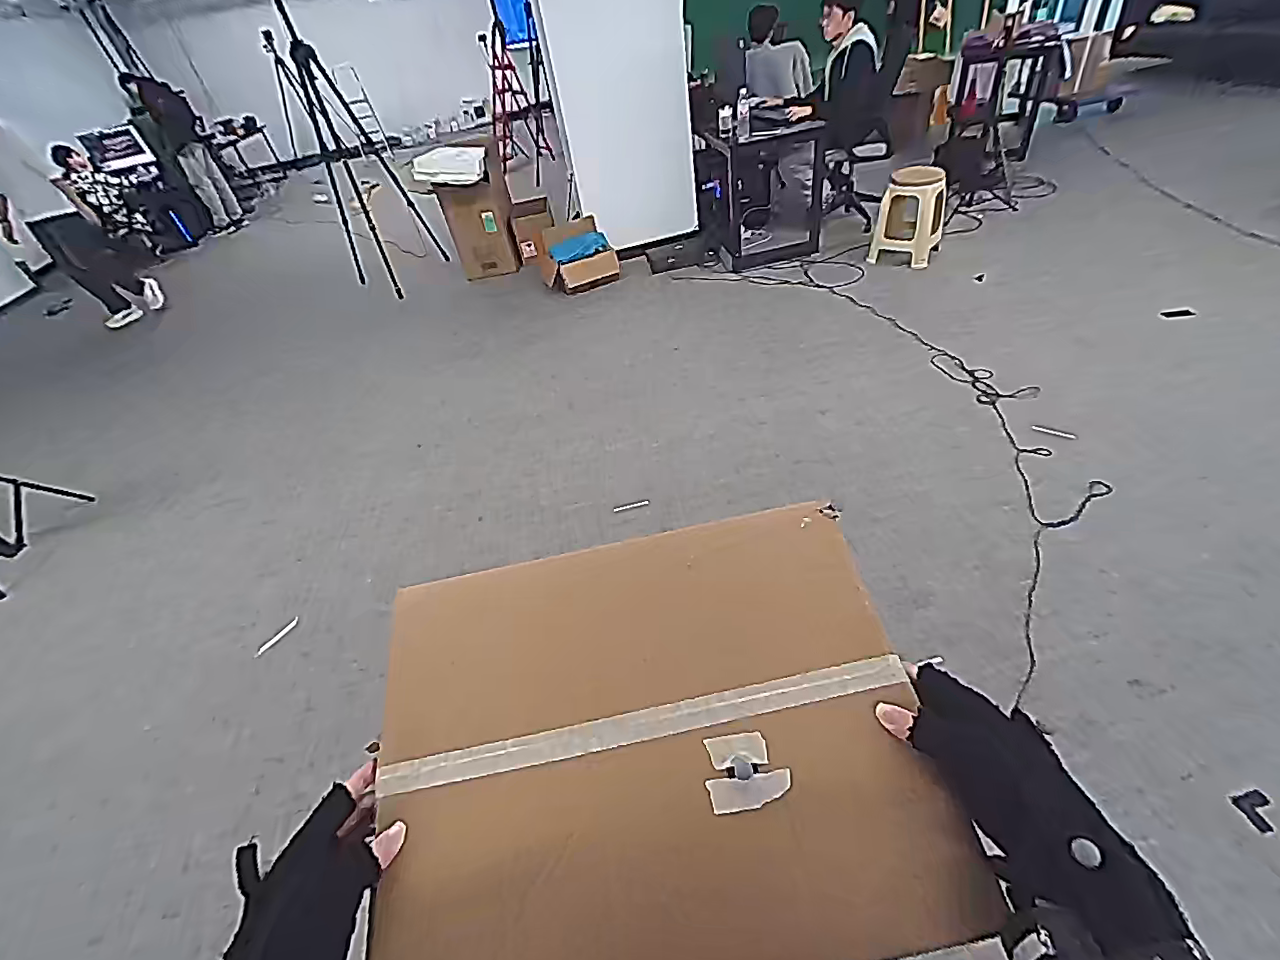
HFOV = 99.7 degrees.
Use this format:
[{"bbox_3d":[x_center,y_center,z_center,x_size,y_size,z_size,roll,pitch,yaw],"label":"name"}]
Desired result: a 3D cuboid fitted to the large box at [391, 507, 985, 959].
[{"bbox_3d":[0.021,0.273,0.551,0.408,0.320,0.320,-12,57,0],"label":"large box"}]
